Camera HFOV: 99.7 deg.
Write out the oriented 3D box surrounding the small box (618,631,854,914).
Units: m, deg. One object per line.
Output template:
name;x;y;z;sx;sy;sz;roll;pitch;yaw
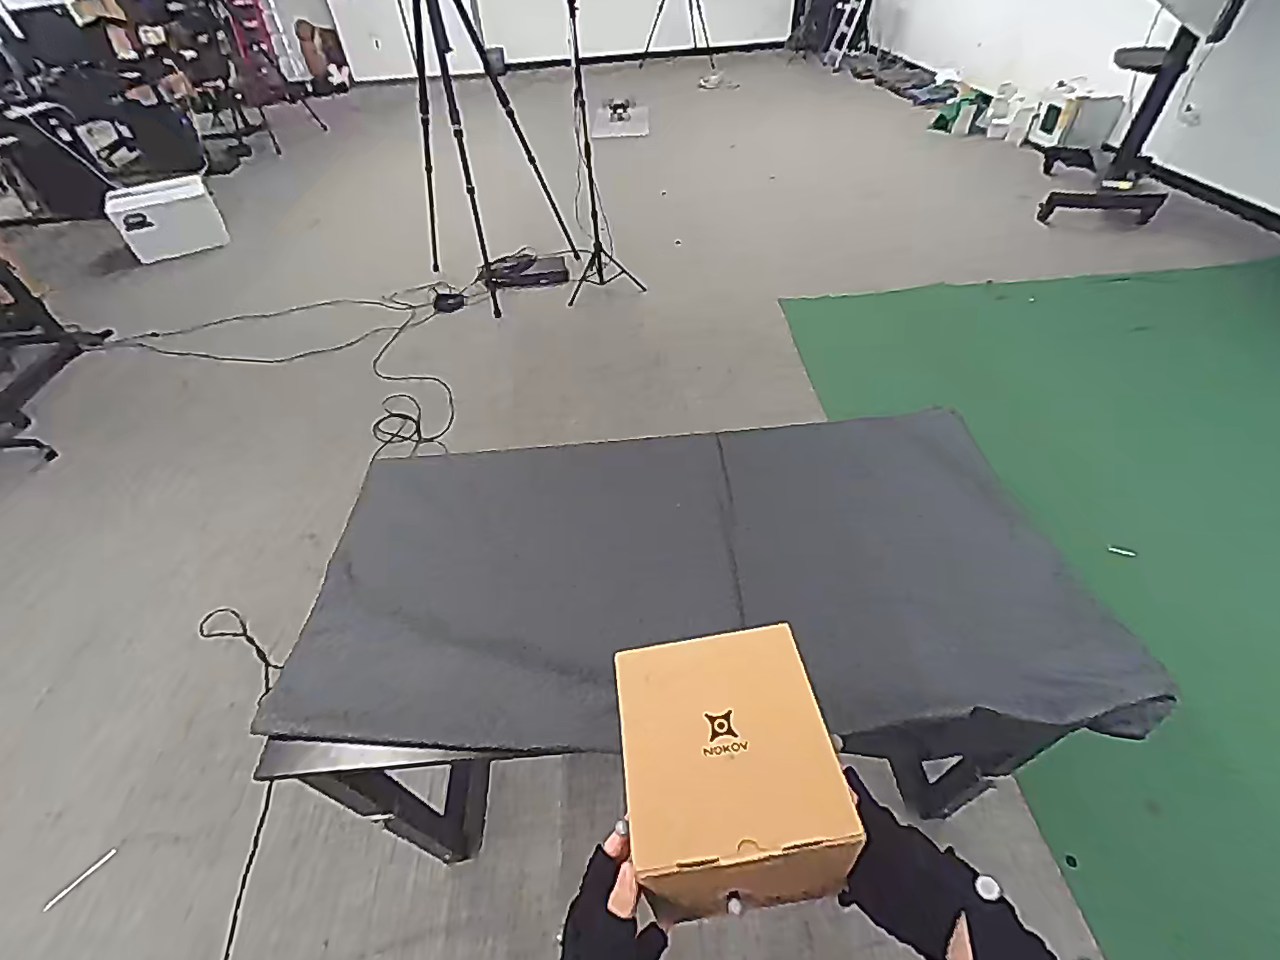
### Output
small box;0.075;0.271;0.505;0.168;0.176;0.179;-10;43;0
